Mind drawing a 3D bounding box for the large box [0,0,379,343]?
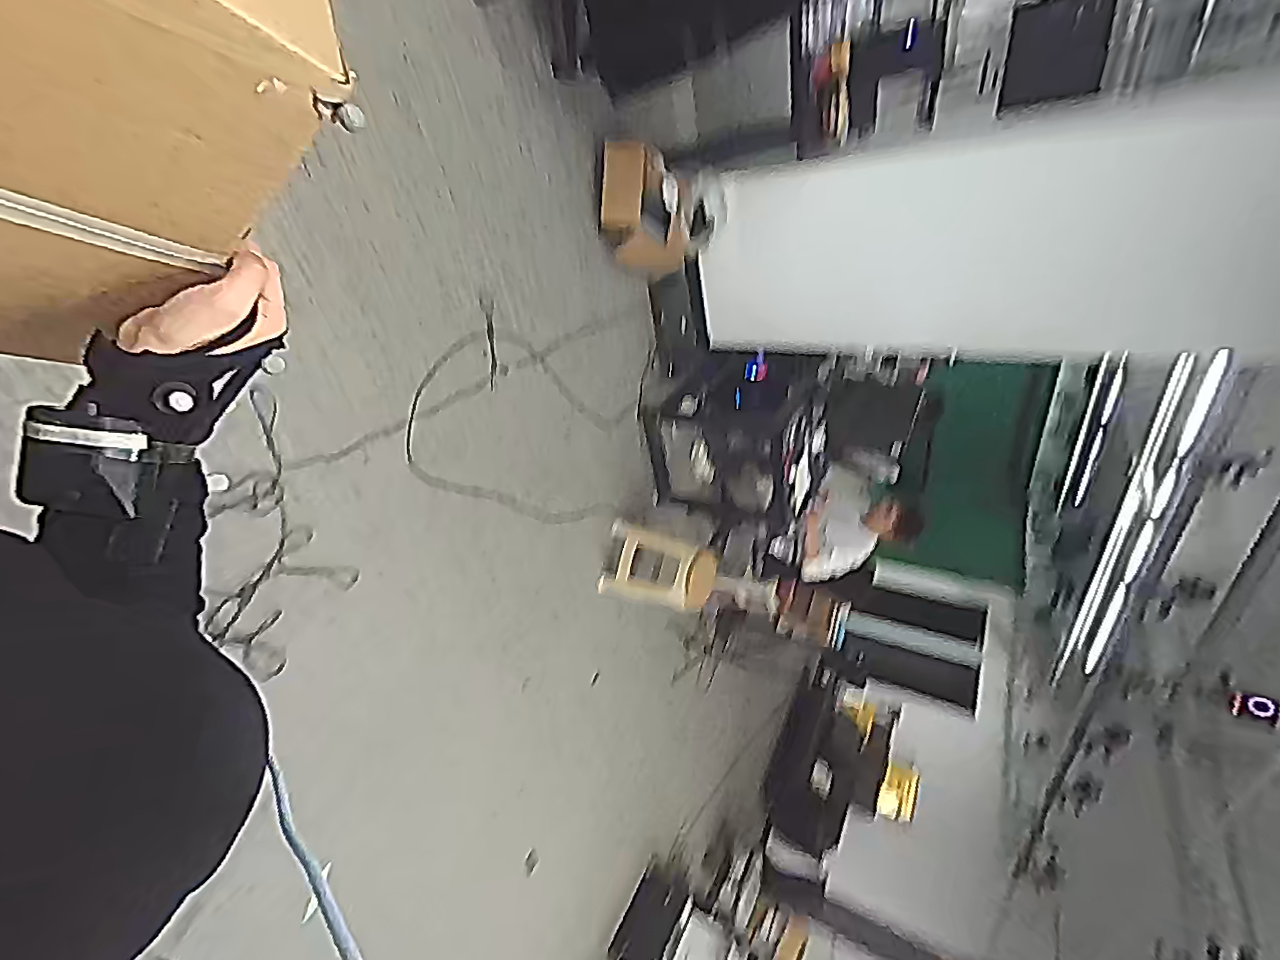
[{"bbox_3d":[-0.394,-0.296,0.199,0.408,0.320,0.320,0,71,-56],"label":"large box"}]
